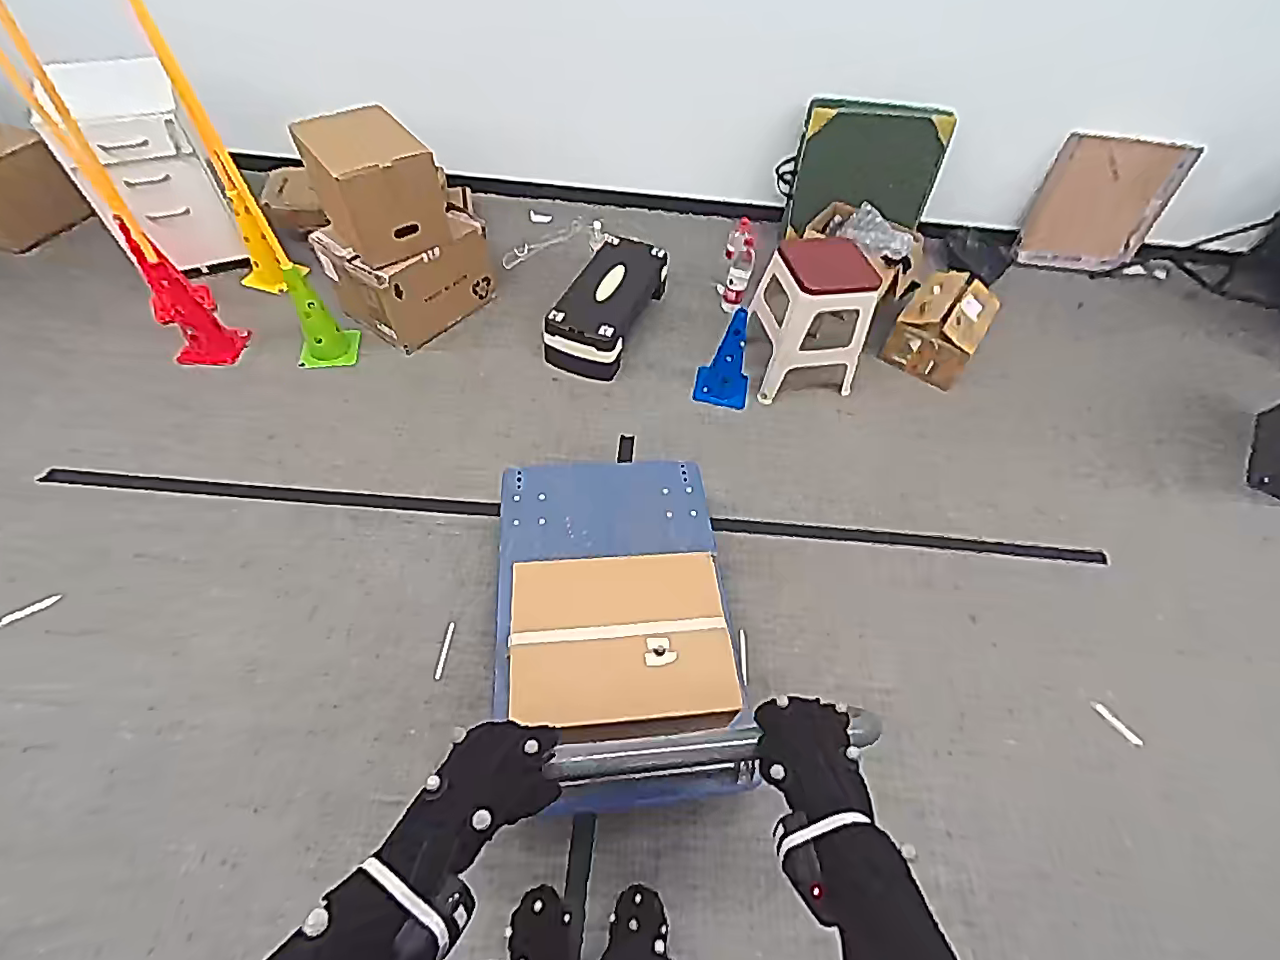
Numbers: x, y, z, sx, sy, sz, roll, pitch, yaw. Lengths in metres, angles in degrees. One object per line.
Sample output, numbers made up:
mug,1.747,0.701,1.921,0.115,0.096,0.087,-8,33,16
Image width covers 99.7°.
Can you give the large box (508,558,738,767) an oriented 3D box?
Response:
large box,-0.054,0.379,1.119,0.408,0.320,0.320,-2,55,-8
